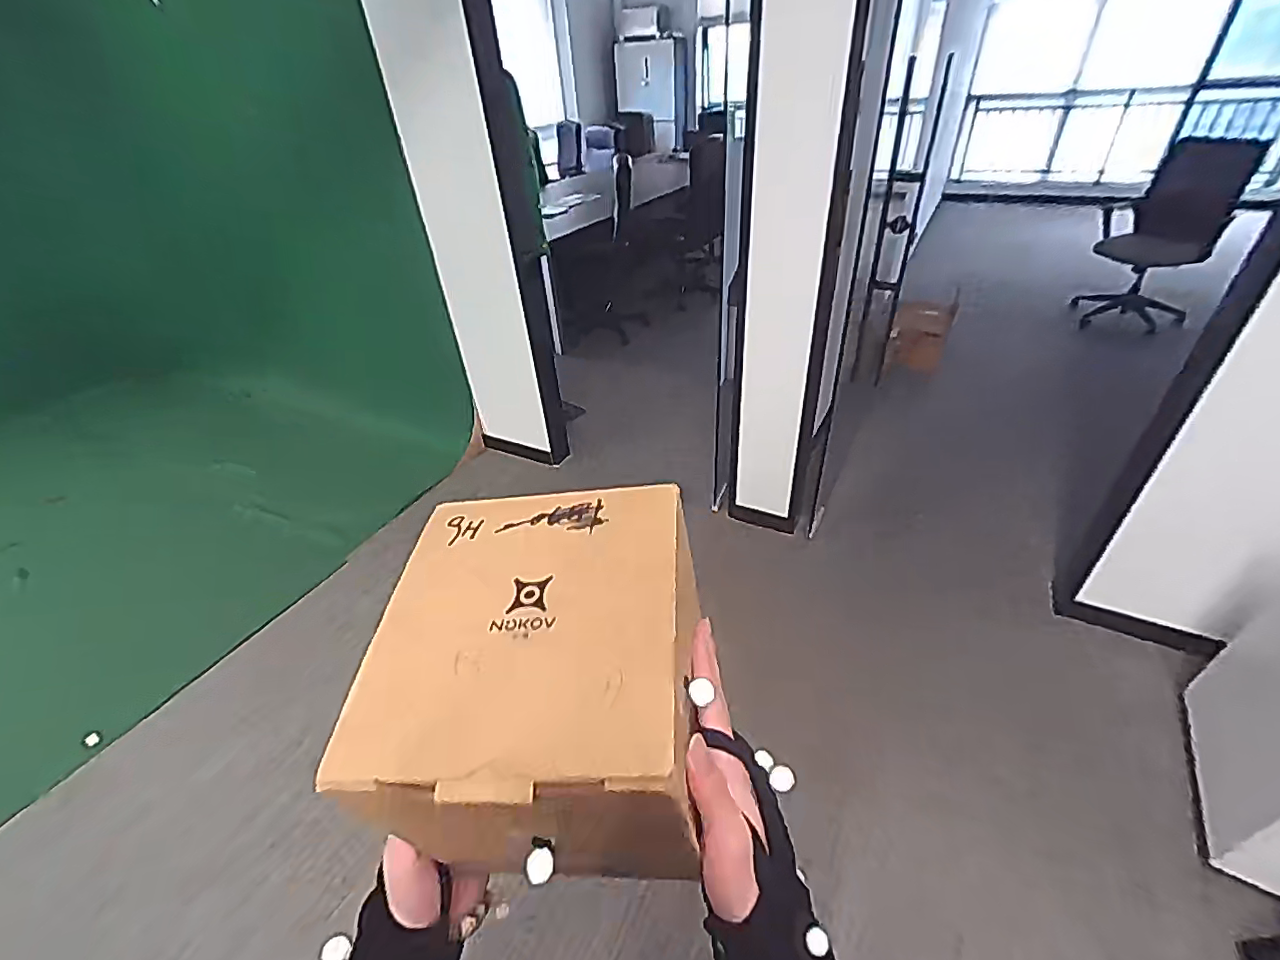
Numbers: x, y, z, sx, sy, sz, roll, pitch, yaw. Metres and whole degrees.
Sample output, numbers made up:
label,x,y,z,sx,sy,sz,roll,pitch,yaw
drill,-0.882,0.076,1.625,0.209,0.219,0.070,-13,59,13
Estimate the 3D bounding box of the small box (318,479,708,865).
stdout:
label,x,y,z,sx,sy,sz,roll,pitch,yaw
small box,-0.047,0.123,0.339,0.168,0.176,0.179,-4,45,7
